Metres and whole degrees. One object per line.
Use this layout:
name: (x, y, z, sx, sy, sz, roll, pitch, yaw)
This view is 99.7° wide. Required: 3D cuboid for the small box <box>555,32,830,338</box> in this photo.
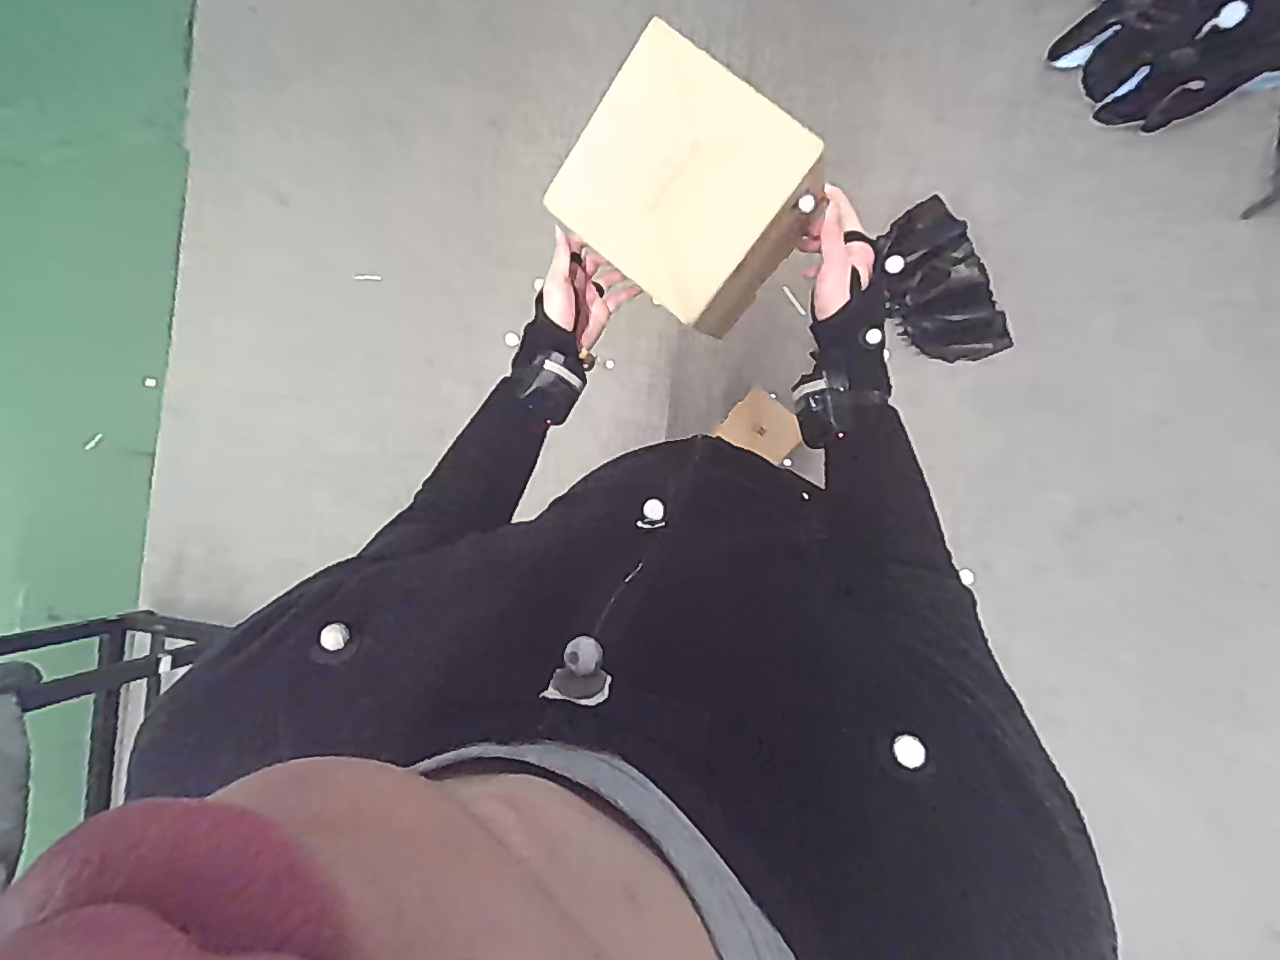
small box: (0.054, -0.251, 0.505, 0.179, 0.176, 0.168, 40, 111, 5)
